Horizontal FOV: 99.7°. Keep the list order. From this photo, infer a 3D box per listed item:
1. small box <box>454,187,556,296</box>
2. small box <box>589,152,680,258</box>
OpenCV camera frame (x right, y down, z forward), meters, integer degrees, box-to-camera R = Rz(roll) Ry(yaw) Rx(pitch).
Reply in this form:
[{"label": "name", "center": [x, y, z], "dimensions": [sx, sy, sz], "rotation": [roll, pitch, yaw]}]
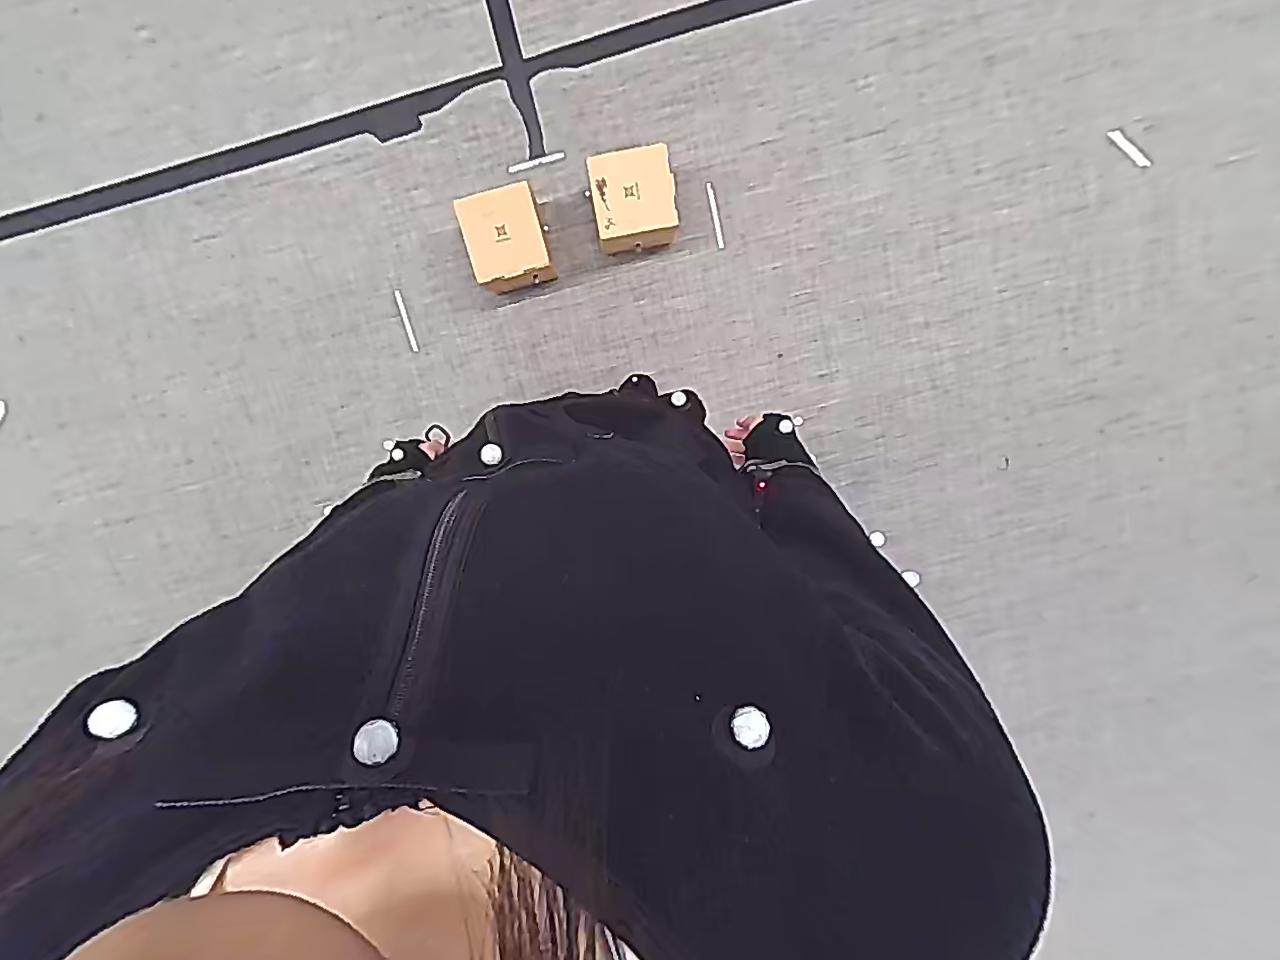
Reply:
[{"label": "small box", "center": [-0.296, -0.530, 1.232], "dimensions": [0.168, 0.176, 0.179], "rotation": [-16, 101, 0]}, {"label": "small box", "center": [-0.017, -0.614, 1.226], "dimensions": [0.179, 0.176, 0.168], "rotation": [-10, 102, -1]}]
